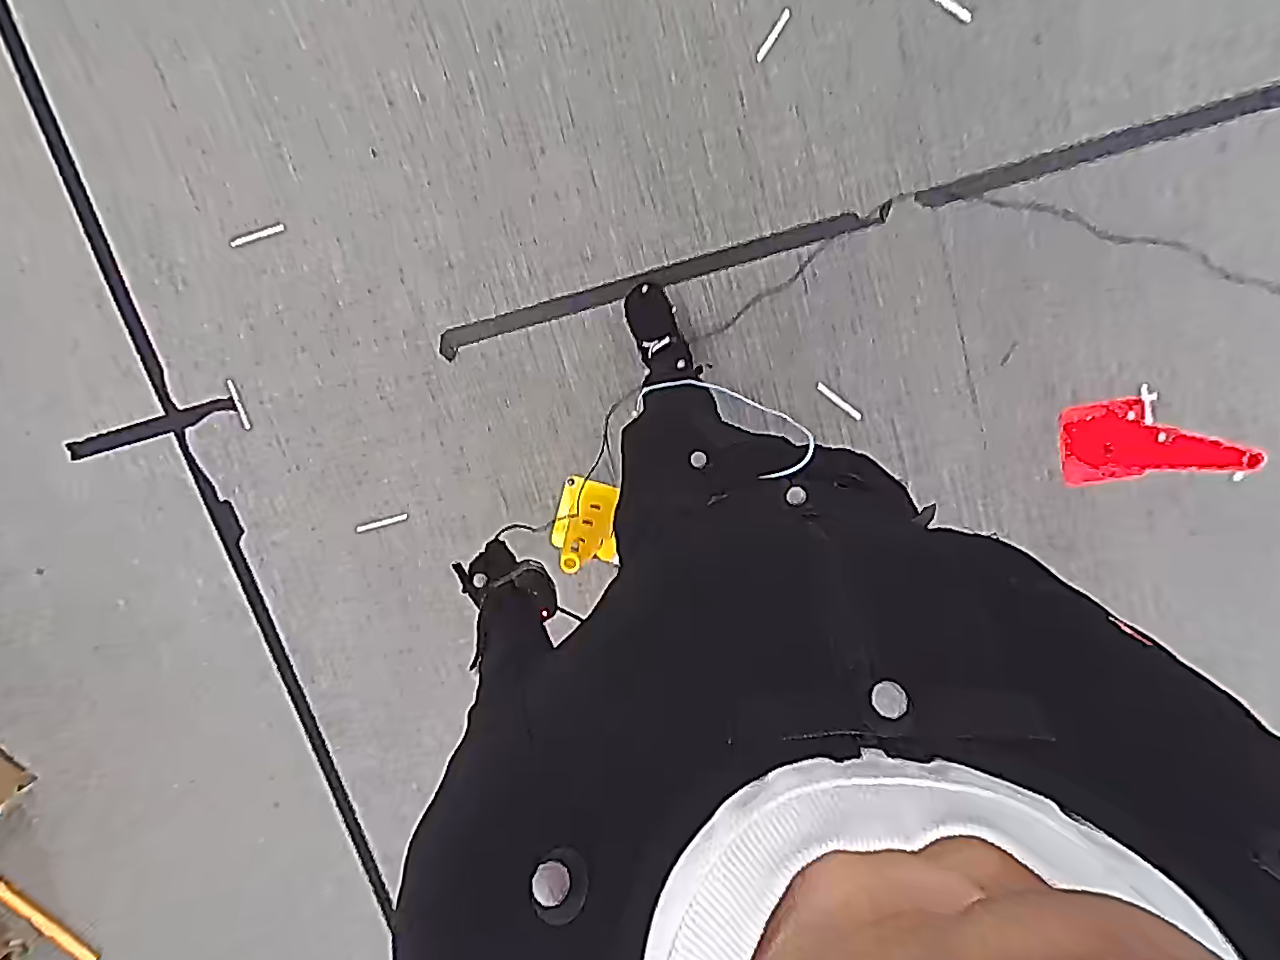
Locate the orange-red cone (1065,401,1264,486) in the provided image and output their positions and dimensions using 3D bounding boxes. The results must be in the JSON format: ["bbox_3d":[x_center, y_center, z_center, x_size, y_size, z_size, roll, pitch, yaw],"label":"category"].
[{"bbox_3d":[1.145,-0.063,1.171,0.199,0.360,0.198,-8,98,6],"label":"orange-red cone"}]
